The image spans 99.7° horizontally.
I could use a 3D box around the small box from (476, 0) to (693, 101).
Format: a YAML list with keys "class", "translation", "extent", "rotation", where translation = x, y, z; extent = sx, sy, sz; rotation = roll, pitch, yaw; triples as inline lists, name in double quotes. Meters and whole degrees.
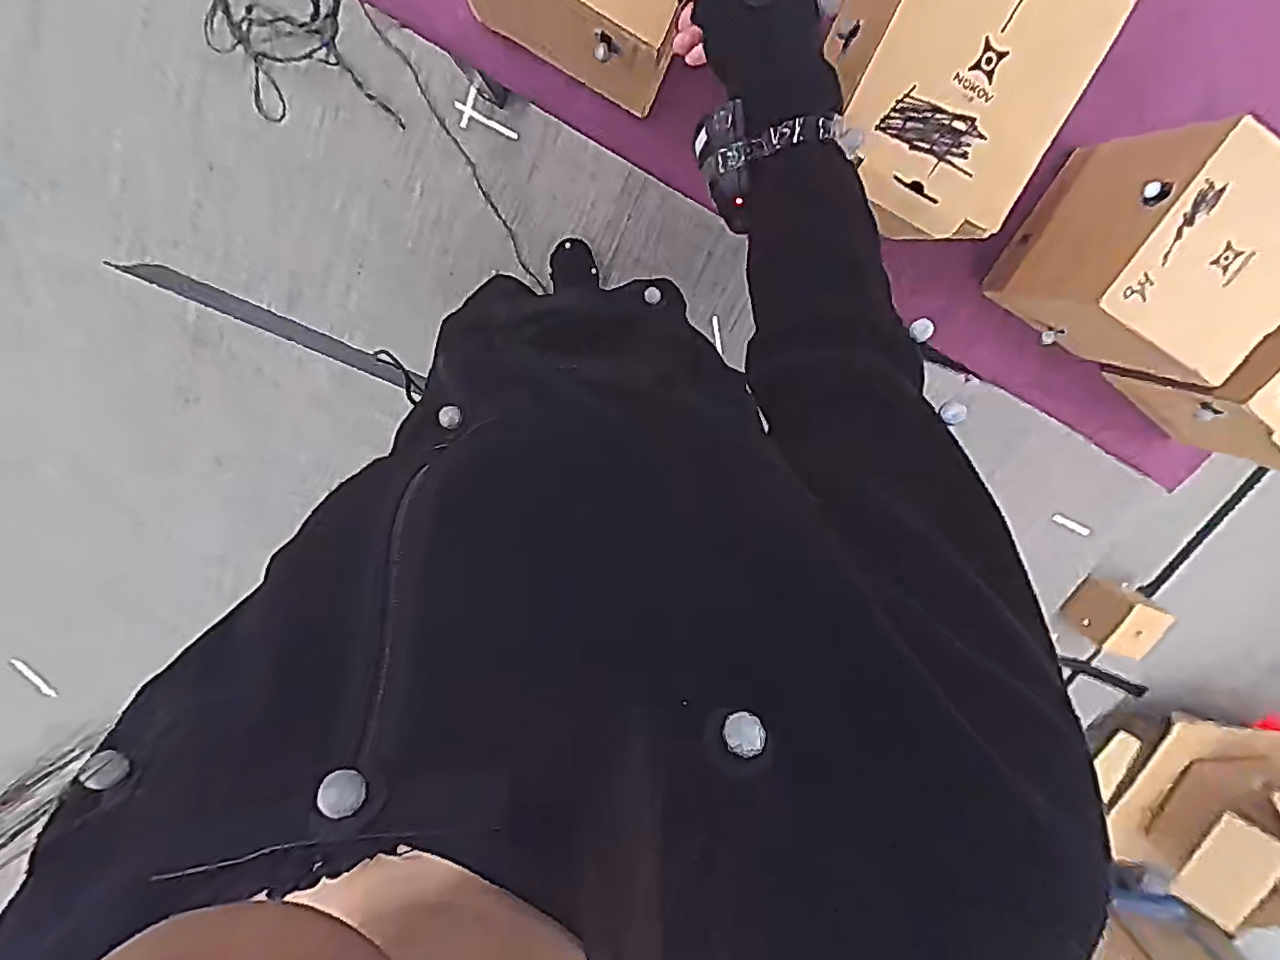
- class: "small box"
  translation: [-0.032, -0.428, 0.406]
  extent: [0.179, 0.176, 0.168]
  rotation: [22, 108, -14]

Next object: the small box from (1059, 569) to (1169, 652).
- class: "small box"
  translation: [1.501, 0.416, 1.731]
  extent: [0.168, 0.176, 0.179]
  rotation: [16, 110, -13]

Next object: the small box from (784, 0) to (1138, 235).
- class: "small box"
  translation: [0.249, -0.336, 0.475]
  extent: [0.168, 0.176, 0.179]
  rotation: [21, 110, -14]
